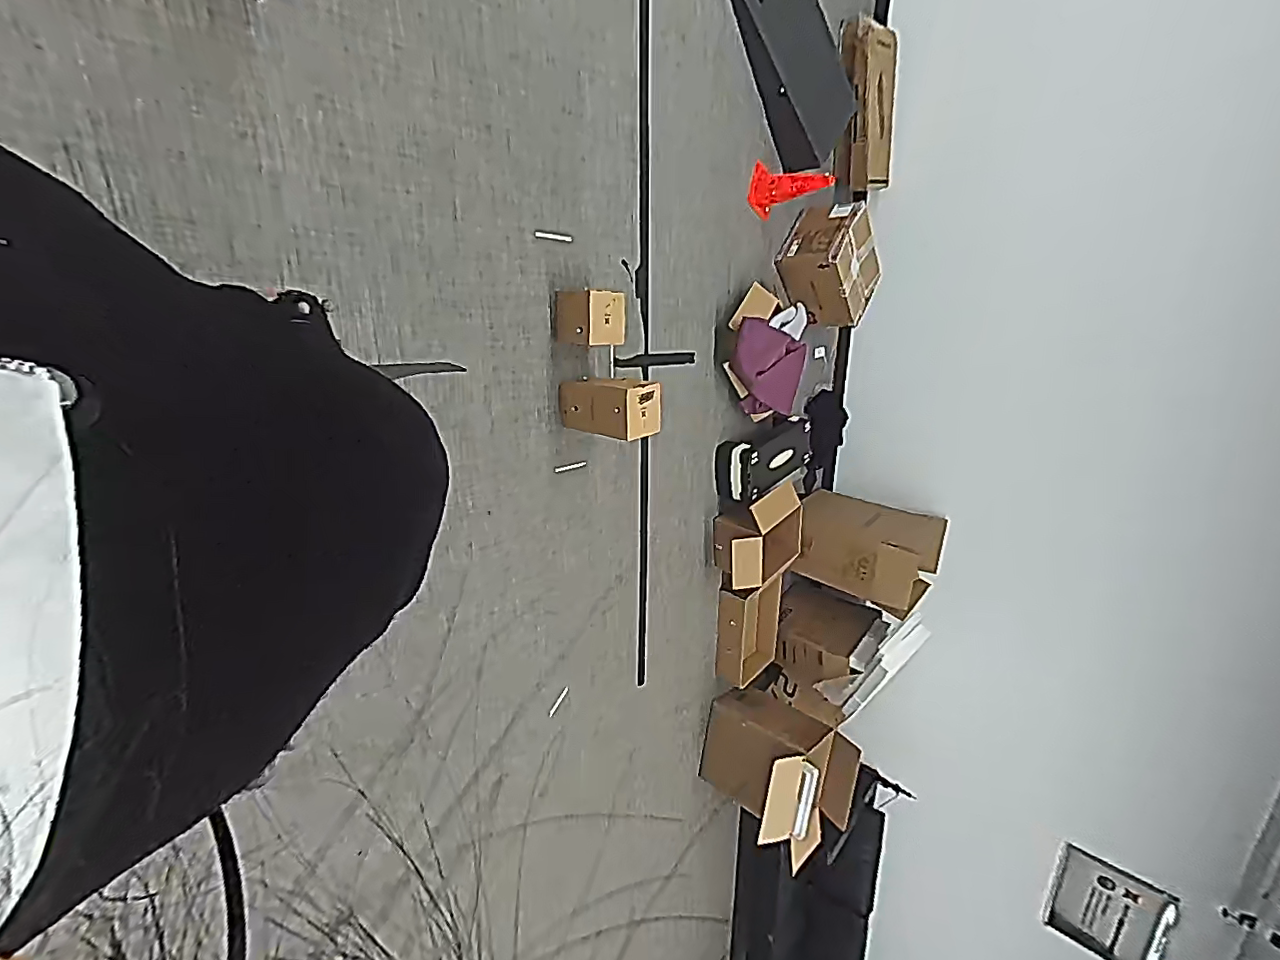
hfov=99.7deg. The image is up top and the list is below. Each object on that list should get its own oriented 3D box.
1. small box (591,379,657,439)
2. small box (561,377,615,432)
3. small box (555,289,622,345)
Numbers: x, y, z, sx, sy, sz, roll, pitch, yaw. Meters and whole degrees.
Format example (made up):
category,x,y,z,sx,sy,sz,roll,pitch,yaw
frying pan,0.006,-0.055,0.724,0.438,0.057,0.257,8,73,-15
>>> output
category,x,y,z,sx,sy,sz,roll,pitch,yaw
small box,-0.057,-0.251,1.853,0.168,0.176,0.179,-20,118,-44
small box,-0.176,-0.280,1.964,0.179,0.176,0.168,-20,117,-43
small box,-0.180,-0.562,1.865,0.168,0.176,0.179,-15,113,-46
